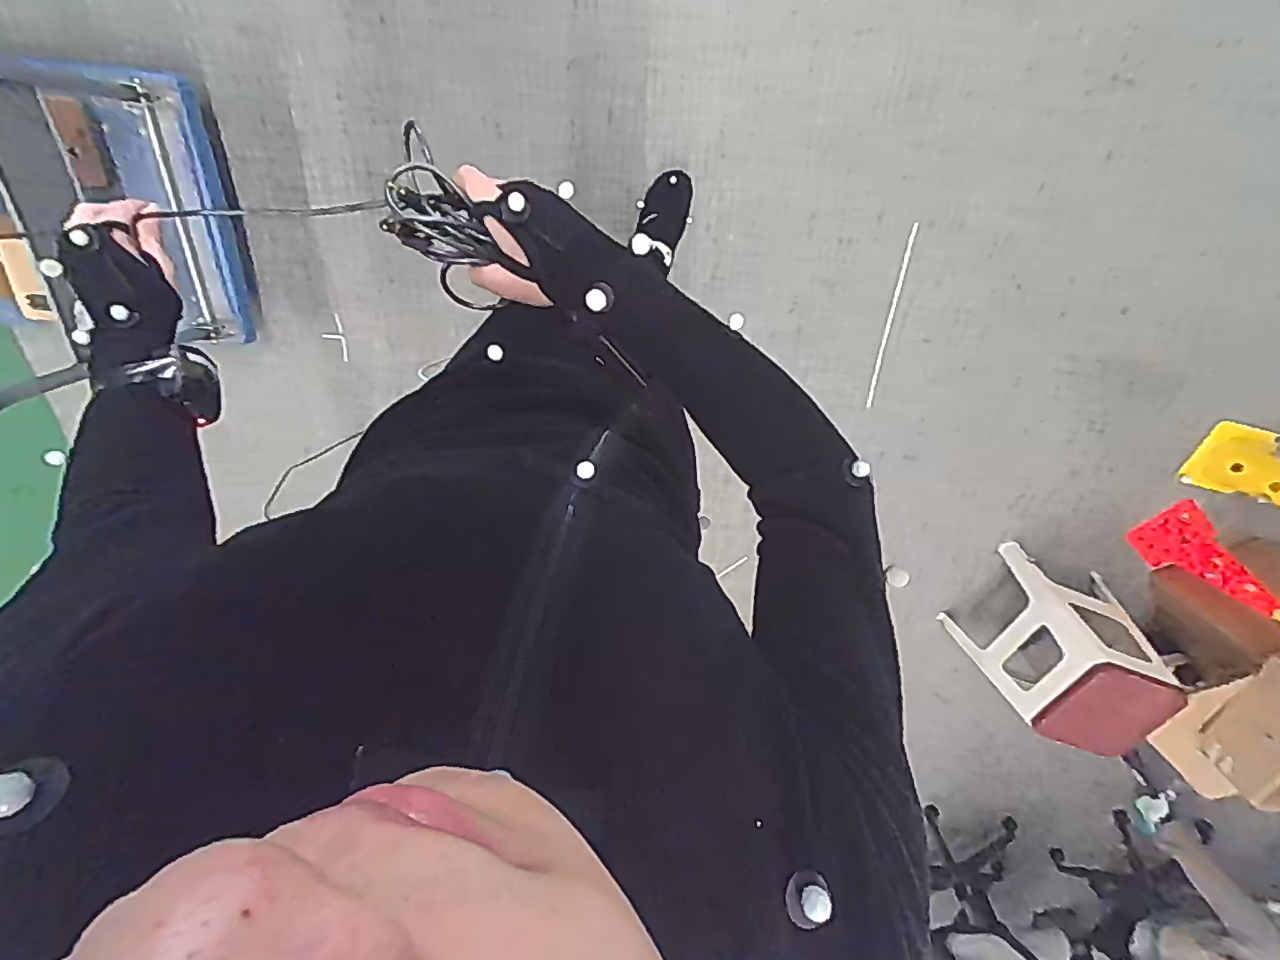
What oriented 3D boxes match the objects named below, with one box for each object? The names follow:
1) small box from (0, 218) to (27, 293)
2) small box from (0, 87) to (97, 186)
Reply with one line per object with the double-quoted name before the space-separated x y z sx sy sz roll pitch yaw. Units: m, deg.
"small box" -1.557 -0.507 1.211 0.179 0.176 0.168 2 119 1
"small box" -1.283 -0.698 1.094 0.179 0.176 0.168 6 119 -2
